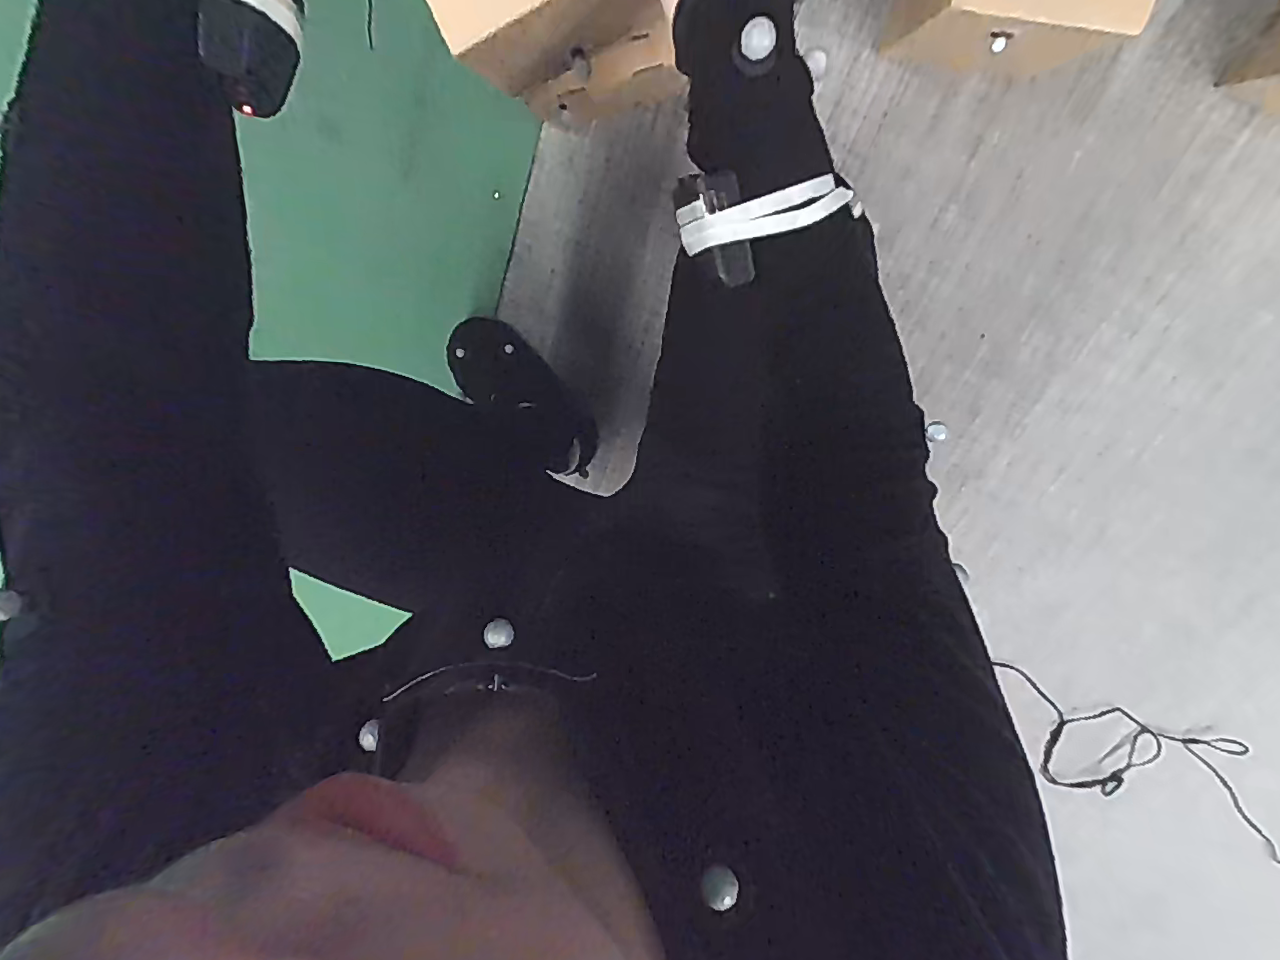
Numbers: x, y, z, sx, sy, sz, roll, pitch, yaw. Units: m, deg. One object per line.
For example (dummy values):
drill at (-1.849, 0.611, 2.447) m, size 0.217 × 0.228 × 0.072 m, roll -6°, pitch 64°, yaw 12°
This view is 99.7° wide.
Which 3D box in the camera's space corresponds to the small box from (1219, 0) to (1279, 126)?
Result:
small box at (0.756, -0.448, 0.521) m, size 0.179 × 0.176 × 0.168 m, roll 19°, pitch 115°, yaw -7°

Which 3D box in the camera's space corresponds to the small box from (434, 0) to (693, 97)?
small box at (-0.064, -0.389, 0.348) m, size 0.168 × 0.176 × 0.179 m, roll -19°, pitch 115°, yaw 11°

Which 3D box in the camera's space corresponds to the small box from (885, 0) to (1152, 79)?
small box at (0.362, -0.503, 0.510) m, size 0.179 × 0.176 × 0.168 m, roll 7°, pitch 116°, yaw -2°
